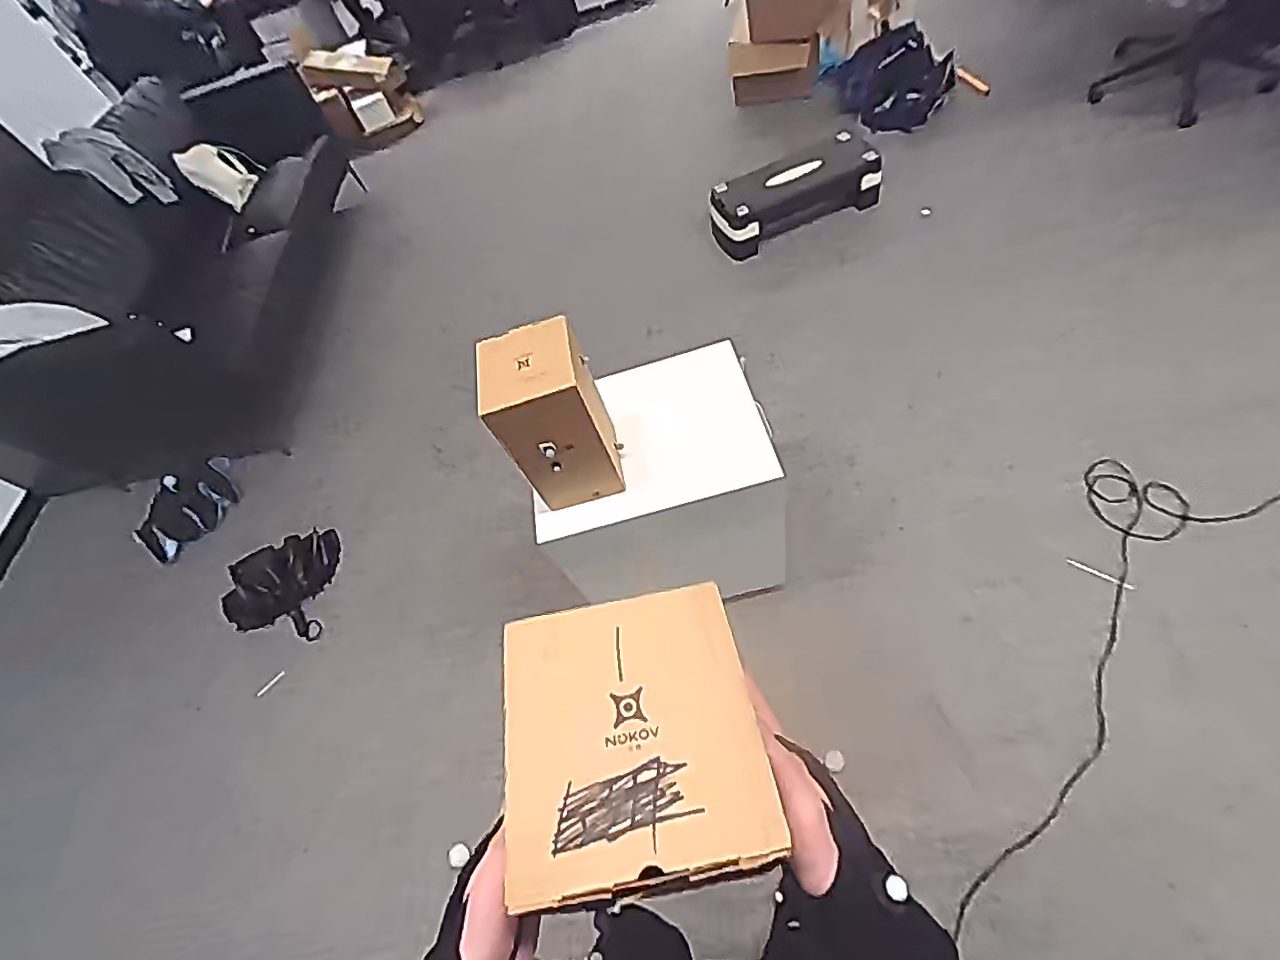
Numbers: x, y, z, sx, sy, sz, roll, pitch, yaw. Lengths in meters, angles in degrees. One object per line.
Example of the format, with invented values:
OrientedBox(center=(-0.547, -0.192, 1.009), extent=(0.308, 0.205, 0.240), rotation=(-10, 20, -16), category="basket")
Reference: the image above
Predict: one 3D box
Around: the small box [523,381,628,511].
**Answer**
OrientedBox(center=(-0.131, -0.065, 1.095), extent=(0.168, 0.176, 0.179), rotation=(-16, 54, 5), category="small box")

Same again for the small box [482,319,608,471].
OrientedBox(center=(-0.166, -0.146, 0.958), extent=(0.168, 0.176, 0.179), rotation=(-17, 56, 6), category="small box")
